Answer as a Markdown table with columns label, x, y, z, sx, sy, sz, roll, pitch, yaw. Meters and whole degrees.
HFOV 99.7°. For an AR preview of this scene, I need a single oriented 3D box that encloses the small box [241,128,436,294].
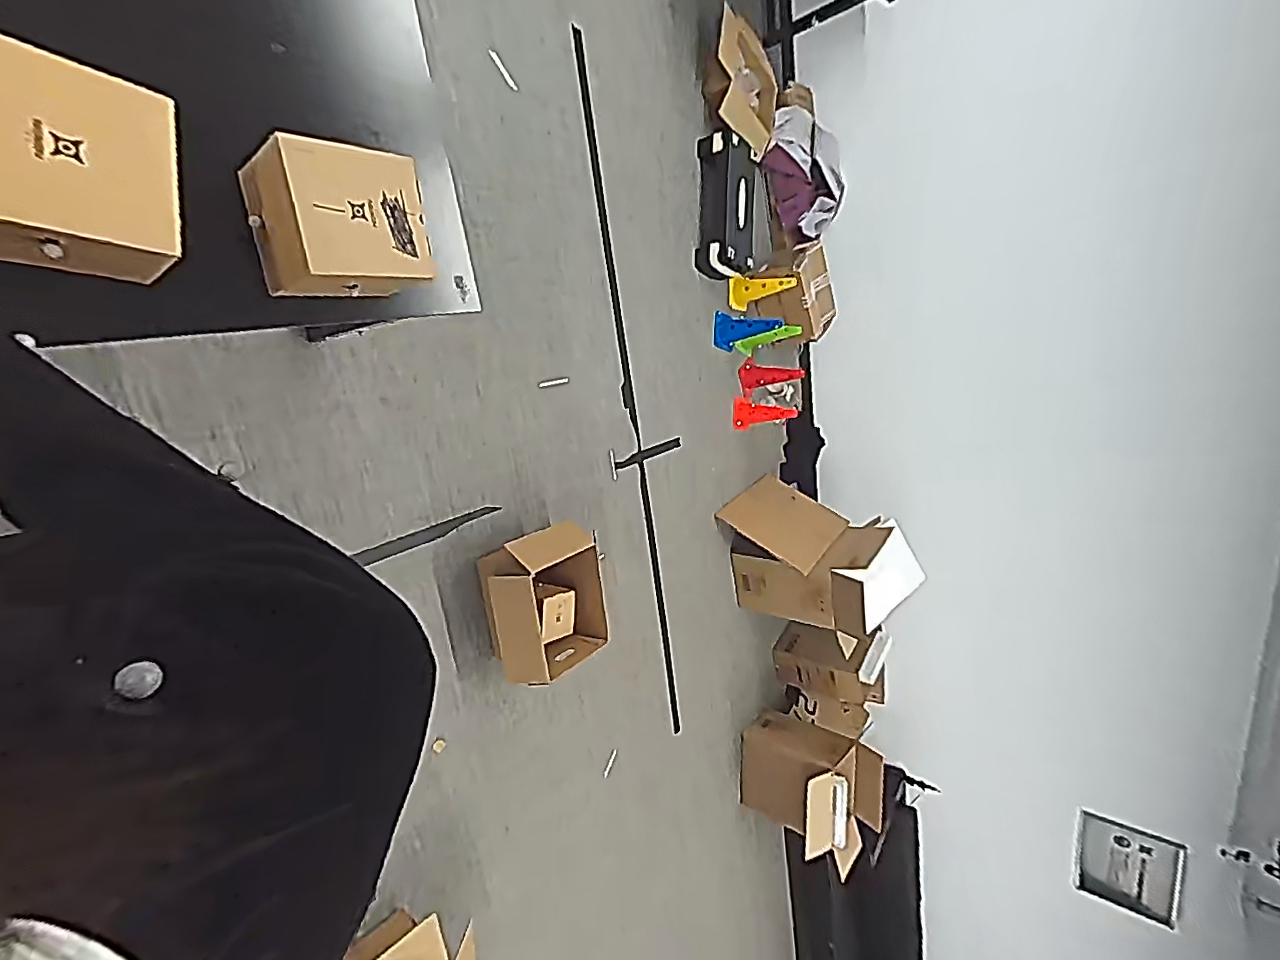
| label | x | y | z | sx | sy | sz | roll | pitch | yaw |
| --- | --- | --- | --- | --- | --- | --- | --- | --- | --- |
| small box | -0.426 | -0.365 | 0.770 | 0.179 | 0.176 | 0.168 | -22 | 110 | -46 |

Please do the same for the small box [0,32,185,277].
| label | x | y | z | sx | sy | sz | roll | pitch | yaw |
| --- | --- | --- | --- | --- | --- | --- | --- | --- | --- |
| small box | -0.607 | -0.321 | 0.561 | 0.179 | 0.176 | 0.168 | -6 | 97 | -49 |
